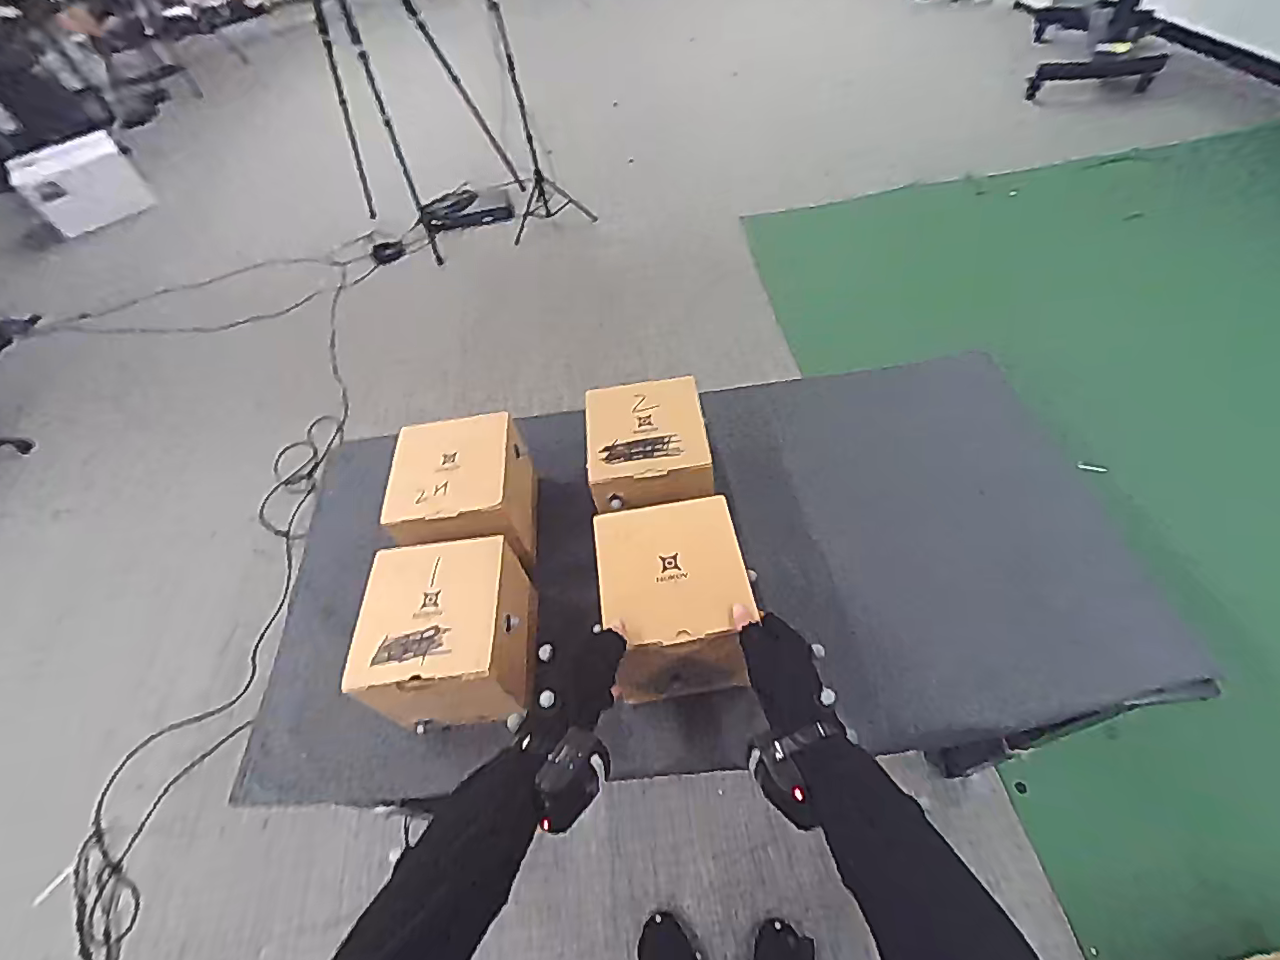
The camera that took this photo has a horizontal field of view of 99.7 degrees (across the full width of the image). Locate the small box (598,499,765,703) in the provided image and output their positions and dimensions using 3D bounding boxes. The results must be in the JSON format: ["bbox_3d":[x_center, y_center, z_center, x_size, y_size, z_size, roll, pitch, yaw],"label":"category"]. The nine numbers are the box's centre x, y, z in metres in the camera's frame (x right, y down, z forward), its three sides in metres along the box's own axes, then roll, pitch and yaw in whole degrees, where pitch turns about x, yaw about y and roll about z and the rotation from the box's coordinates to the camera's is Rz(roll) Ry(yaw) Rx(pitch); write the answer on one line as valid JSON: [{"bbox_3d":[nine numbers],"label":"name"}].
[{"bbox_3d":[0.045,0.151,0.666,0.168,0.176,0.179,-10,51,0],"label":"small box"}]
